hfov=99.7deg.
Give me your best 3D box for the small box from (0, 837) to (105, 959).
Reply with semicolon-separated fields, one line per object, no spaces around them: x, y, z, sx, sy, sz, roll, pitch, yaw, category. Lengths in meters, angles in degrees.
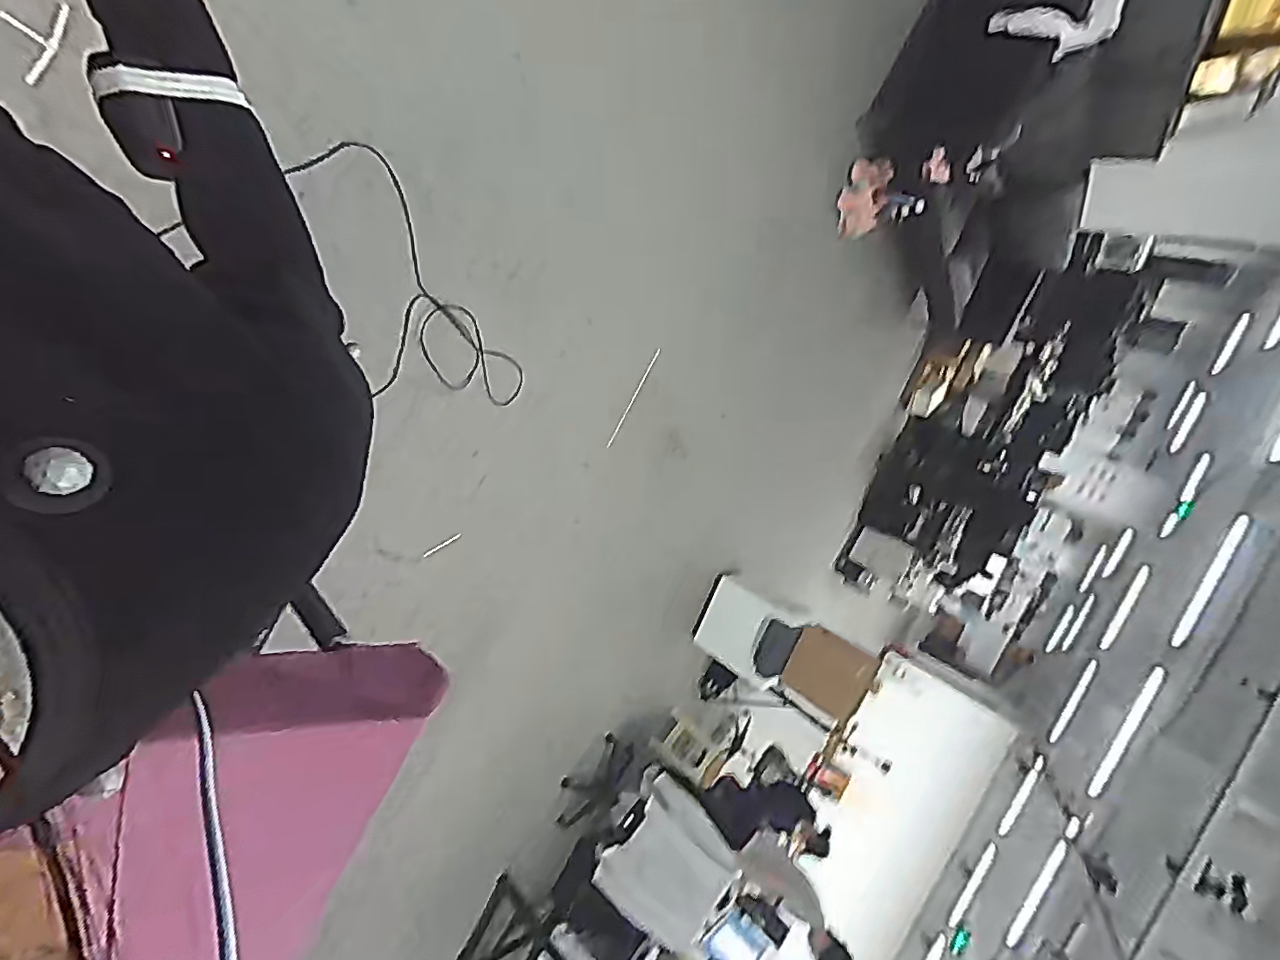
-0.772;0.553;0.619;0.179;0.176;0.168;28;91;-53;small box
